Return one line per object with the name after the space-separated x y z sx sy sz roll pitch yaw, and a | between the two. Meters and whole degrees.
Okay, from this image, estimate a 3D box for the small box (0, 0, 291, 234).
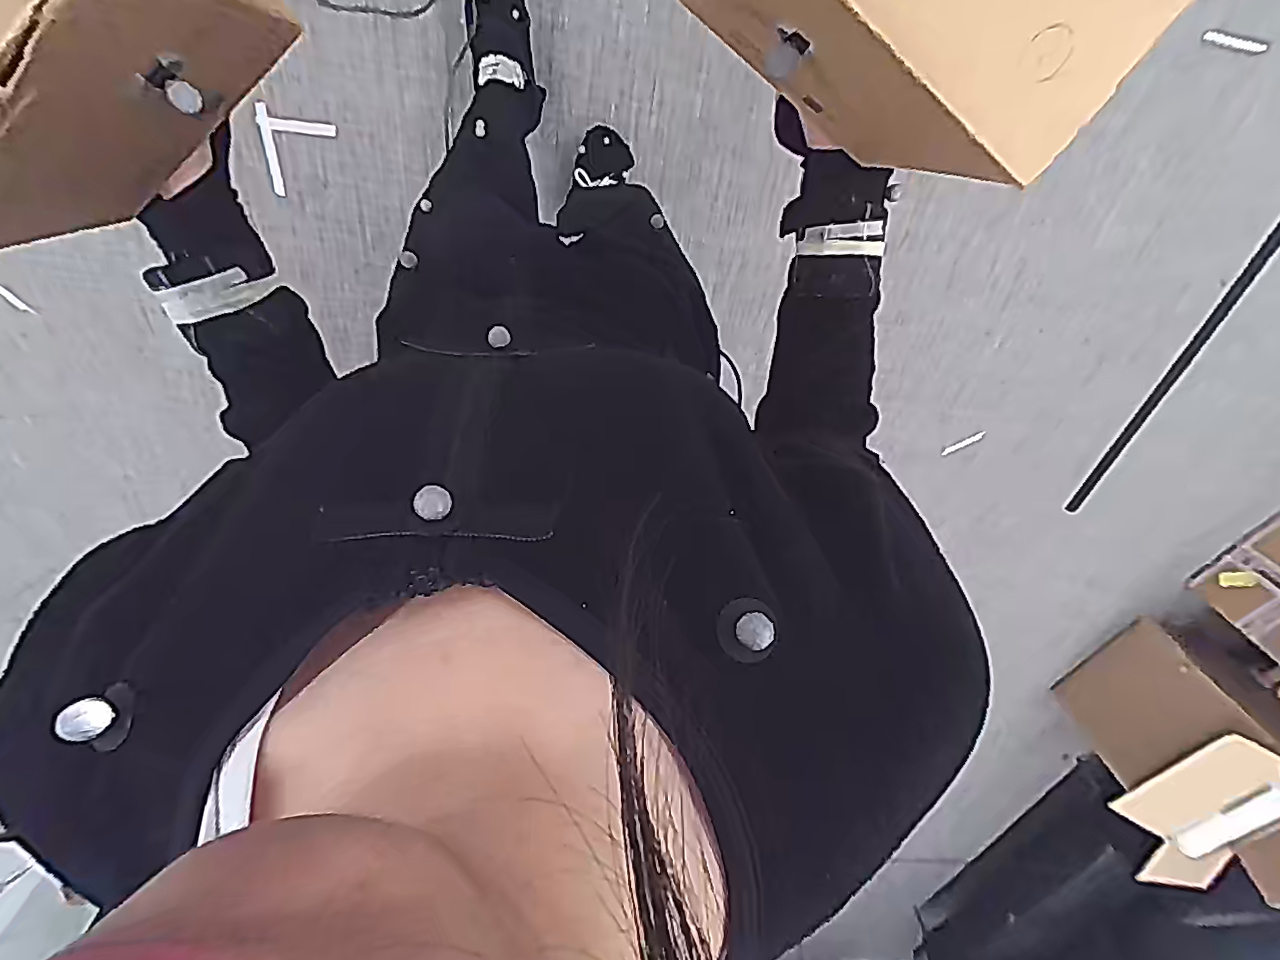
-0.281 -0.215 0.201 0.168 0.176 0.179 -35 121 12 | small box

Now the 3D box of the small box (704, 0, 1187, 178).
0.138 -0.268 0.238 0.168 0.176 0.179 27 115 -21 | small box
